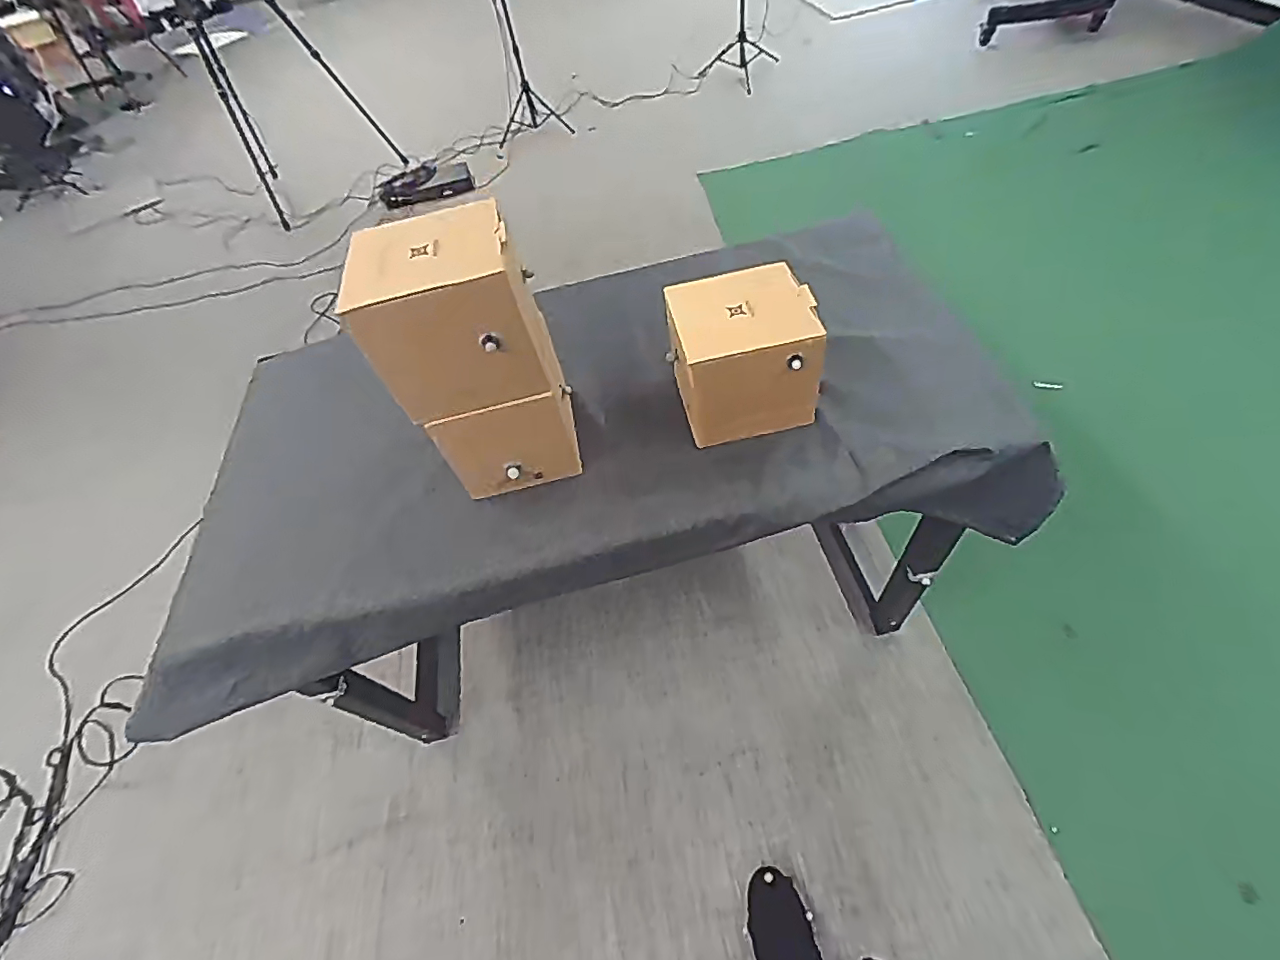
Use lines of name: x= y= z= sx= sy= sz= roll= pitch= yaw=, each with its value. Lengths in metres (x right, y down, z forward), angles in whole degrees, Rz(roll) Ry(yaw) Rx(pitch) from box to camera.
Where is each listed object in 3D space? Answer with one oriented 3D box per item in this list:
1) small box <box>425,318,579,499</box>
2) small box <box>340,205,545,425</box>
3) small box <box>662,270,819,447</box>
small box: x=-0.192 y=-0.100 z=0.781 sx=0.168 sy=0.176 sz=0.179 roll=-14 pitch=54 yaw=0
small box: x=-0.220 y=-0.193 z=0.650 sx=0.179 sy=0.176 sz=0.168 roll=-15 pitch=52 yaw=0
small box: x=0.138 y=-0.168 z=0.777 sx=0.179 sy=0.176 sz=0.168 roll=-12 pitch=53 yaw=0
